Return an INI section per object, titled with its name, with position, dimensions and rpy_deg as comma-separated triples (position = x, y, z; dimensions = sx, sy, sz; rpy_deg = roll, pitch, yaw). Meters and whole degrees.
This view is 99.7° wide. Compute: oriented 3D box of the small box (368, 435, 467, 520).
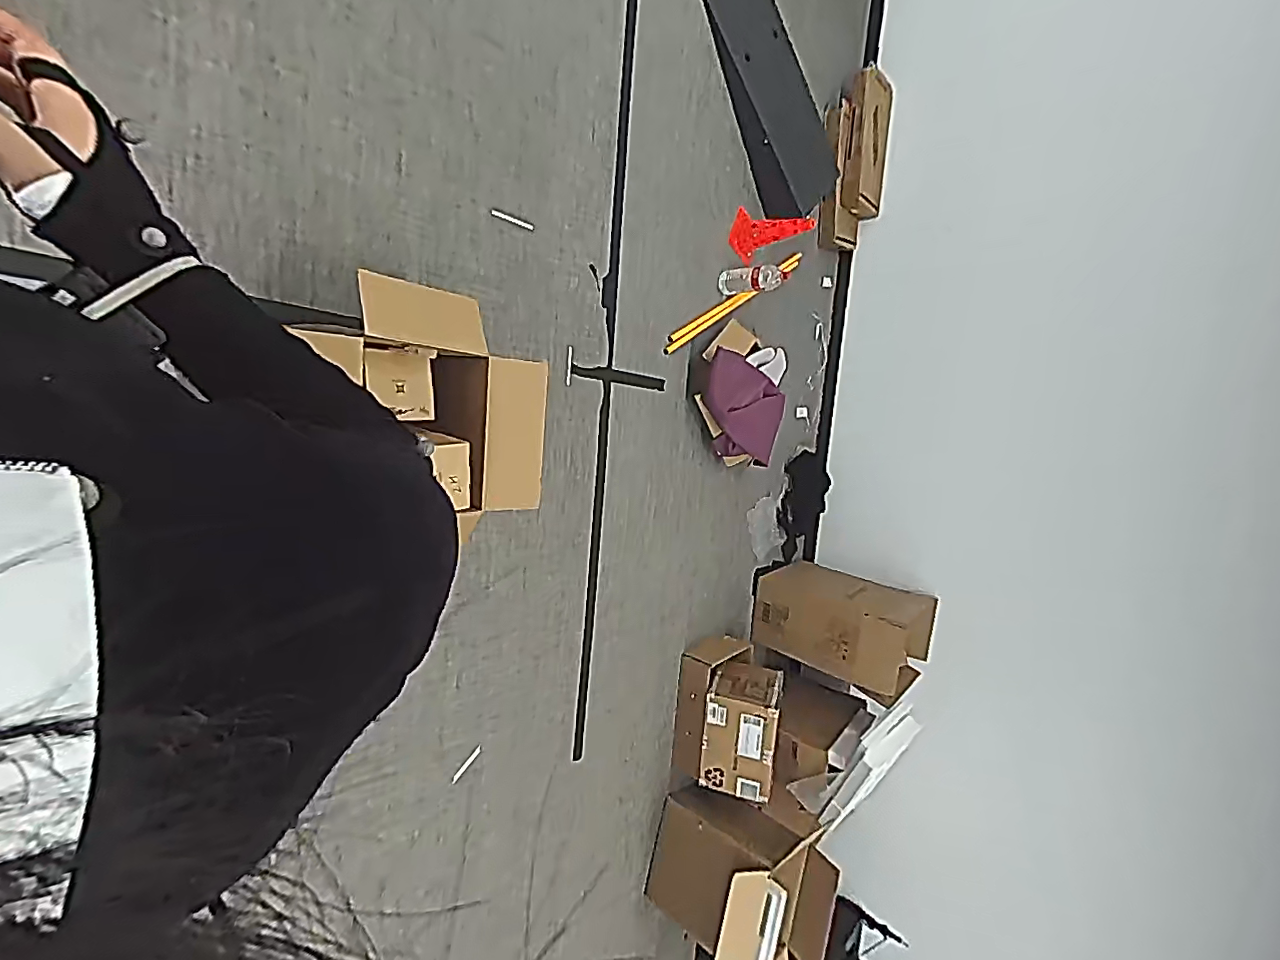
[small box]
position = -0.539, -0.012, 1.302
dimensions = 0.179, 0.176, 0.168
rpy_deg = -11, 110, -46
